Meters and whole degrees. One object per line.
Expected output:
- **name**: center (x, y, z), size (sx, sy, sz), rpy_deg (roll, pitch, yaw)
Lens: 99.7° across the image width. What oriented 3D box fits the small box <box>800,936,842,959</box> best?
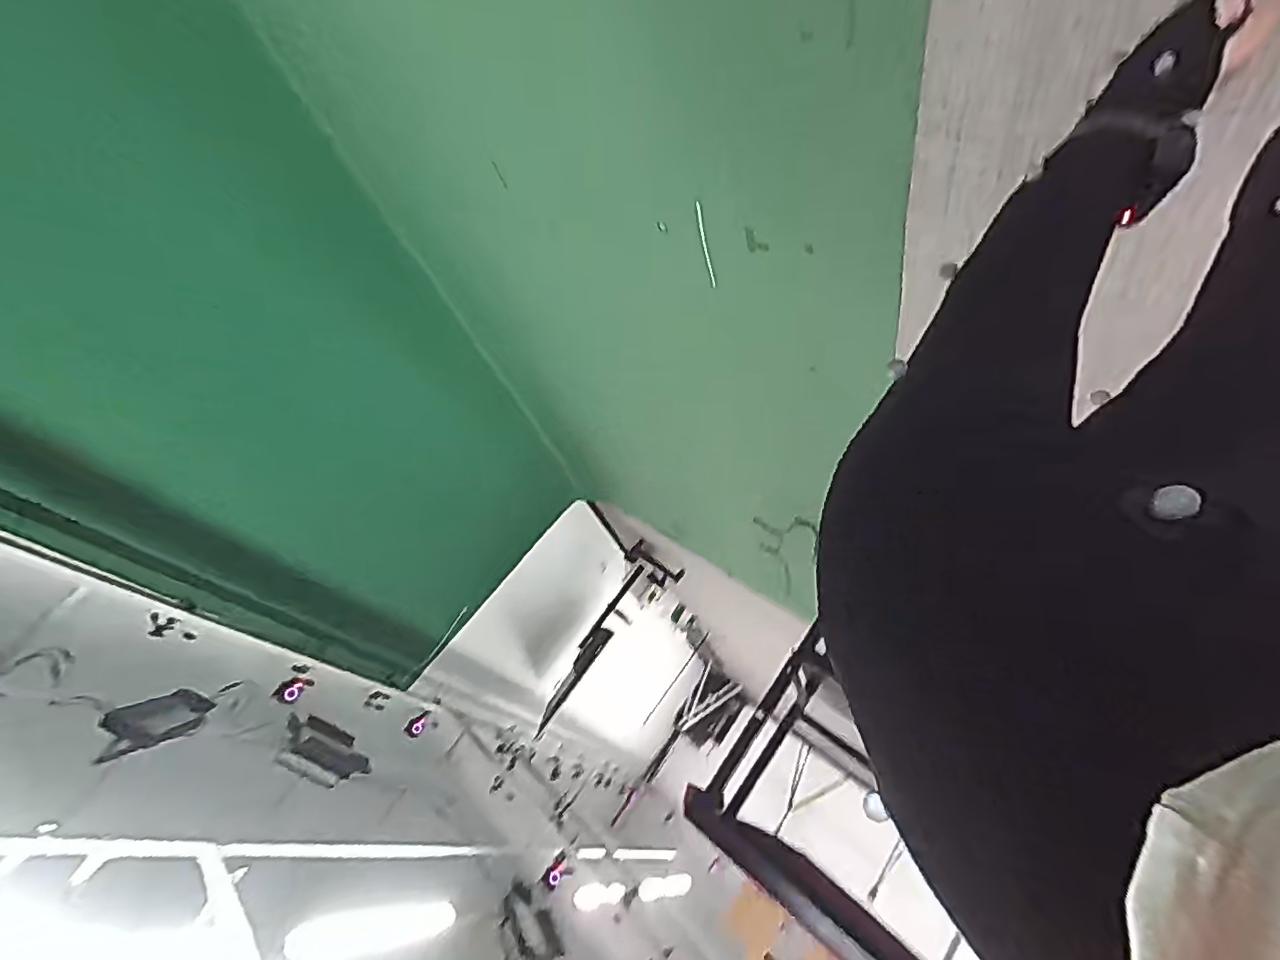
- **small box**: center (0.588, 1.615, 1.734), size (0.168, 0.176, 0.179), rpy_deg (28, 159, 33)
